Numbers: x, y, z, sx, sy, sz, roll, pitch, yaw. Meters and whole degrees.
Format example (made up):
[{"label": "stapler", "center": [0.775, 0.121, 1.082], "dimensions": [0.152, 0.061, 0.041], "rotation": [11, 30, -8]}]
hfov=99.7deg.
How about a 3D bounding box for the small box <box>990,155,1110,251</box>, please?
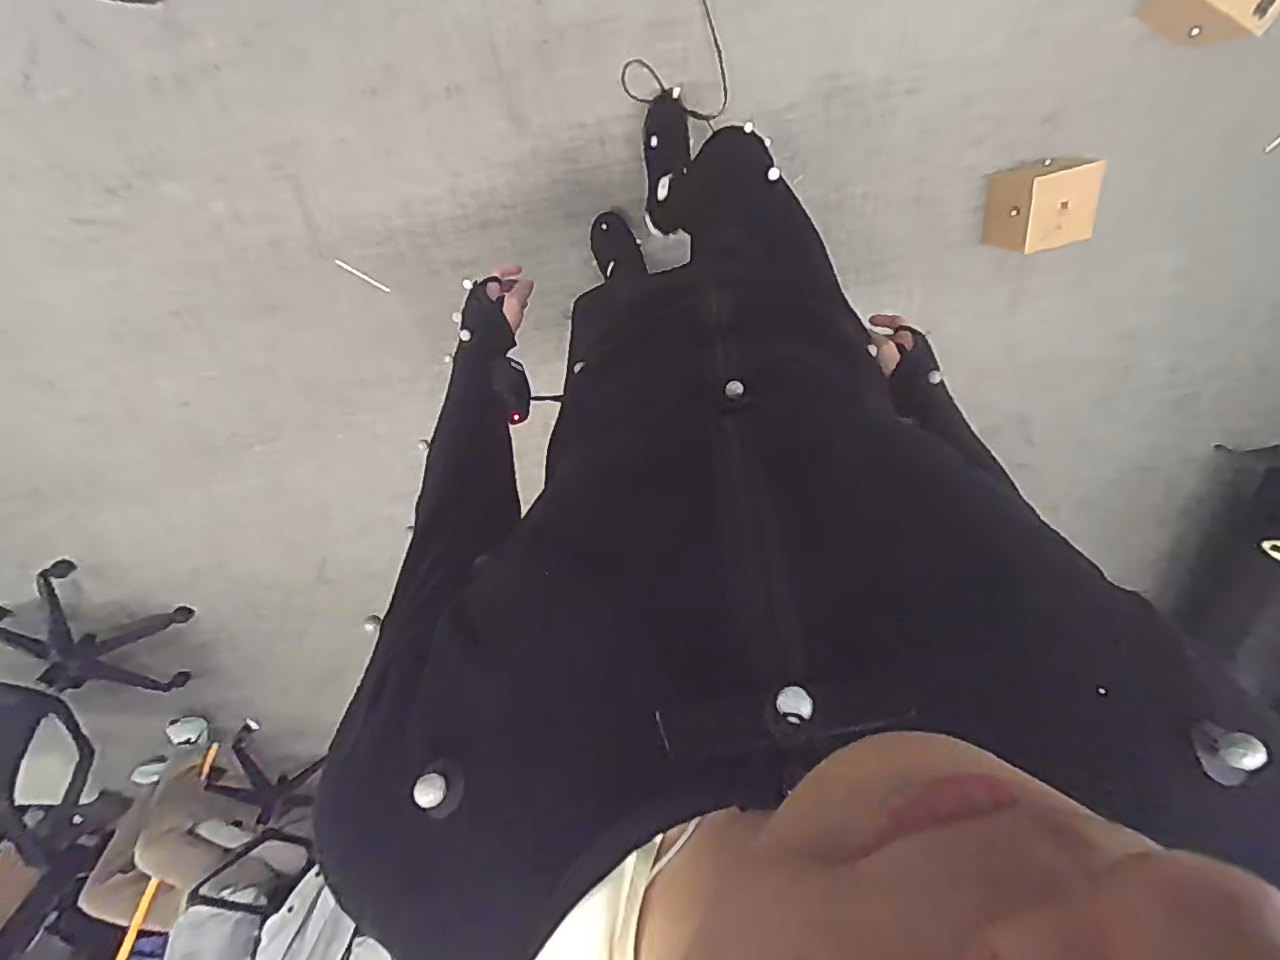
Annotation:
[{"label": "small box", "center": [1.009, -0.693, 1.349], "dimensions": [0.168, 0.176, 0.179], "rotation": [-13, 122, 4]}]
